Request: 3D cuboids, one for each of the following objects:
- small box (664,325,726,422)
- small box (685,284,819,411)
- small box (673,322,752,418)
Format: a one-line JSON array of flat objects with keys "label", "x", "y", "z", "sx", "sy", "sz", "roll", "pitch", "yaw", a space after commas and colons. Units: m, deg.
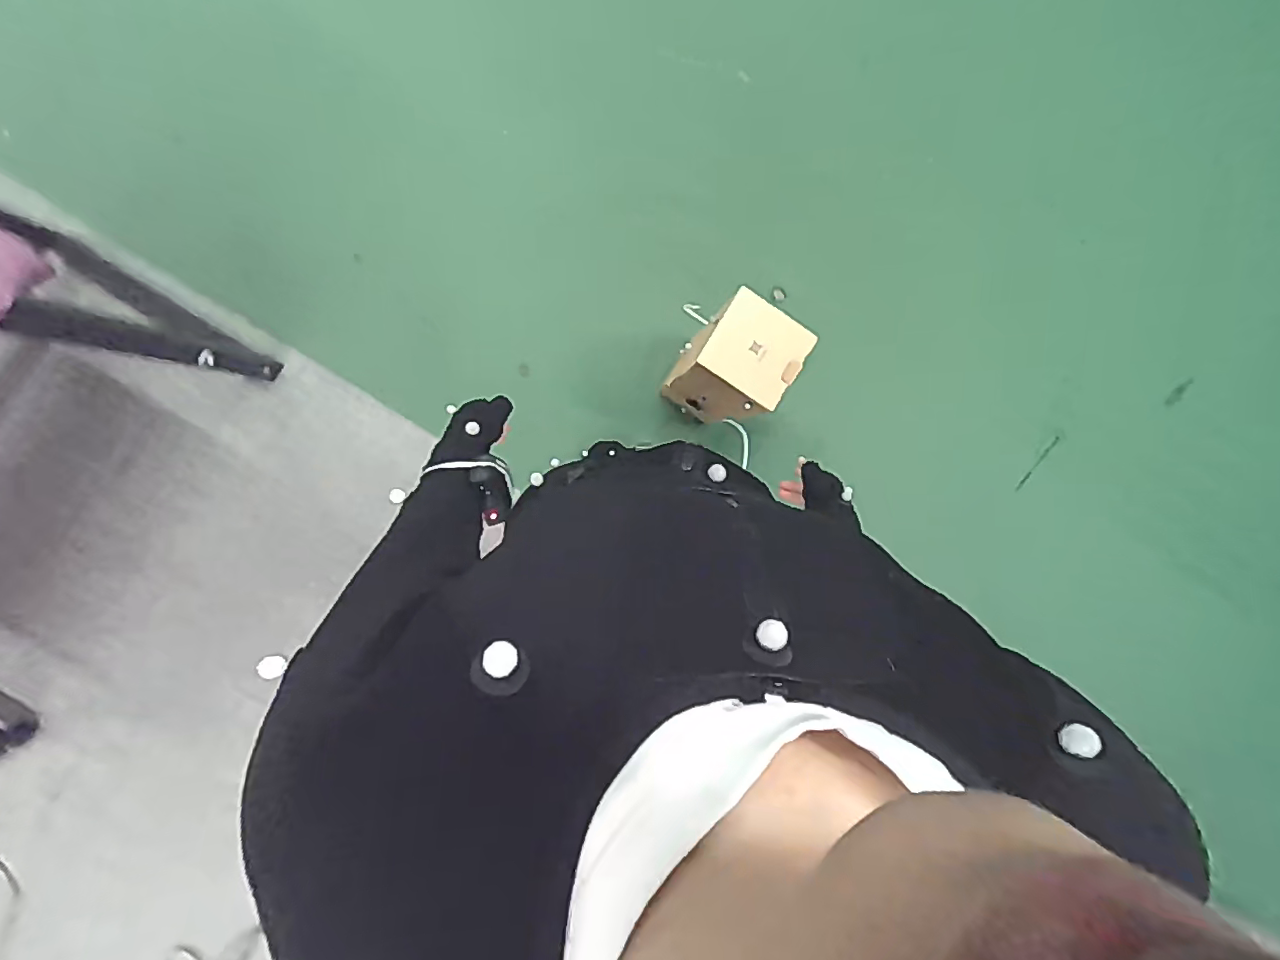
[{"label": "small box", "x": 0.176, "y": -0.267, "z": 1.391, "sx": 0.168, "sy": 0.176, "sz": 0.179, "roll": 33, "pitch": 91, "yaw": -6}, {"label": "small box", "x": 0.209, "y": -0.247, "z": 1.066, "sx": 0.179, "sy": 0.176, "sz": 0.168, "roll": 32, "pitch": 90, "yaw": -7}, {"label": "small box", "x": 0.198, "y": -0.255, "z": 1.225, "sx": 0.179, "sy": 0.176, "sz": 0.168, "roll": 35, "pitch": 88, "yaw": -7}]
